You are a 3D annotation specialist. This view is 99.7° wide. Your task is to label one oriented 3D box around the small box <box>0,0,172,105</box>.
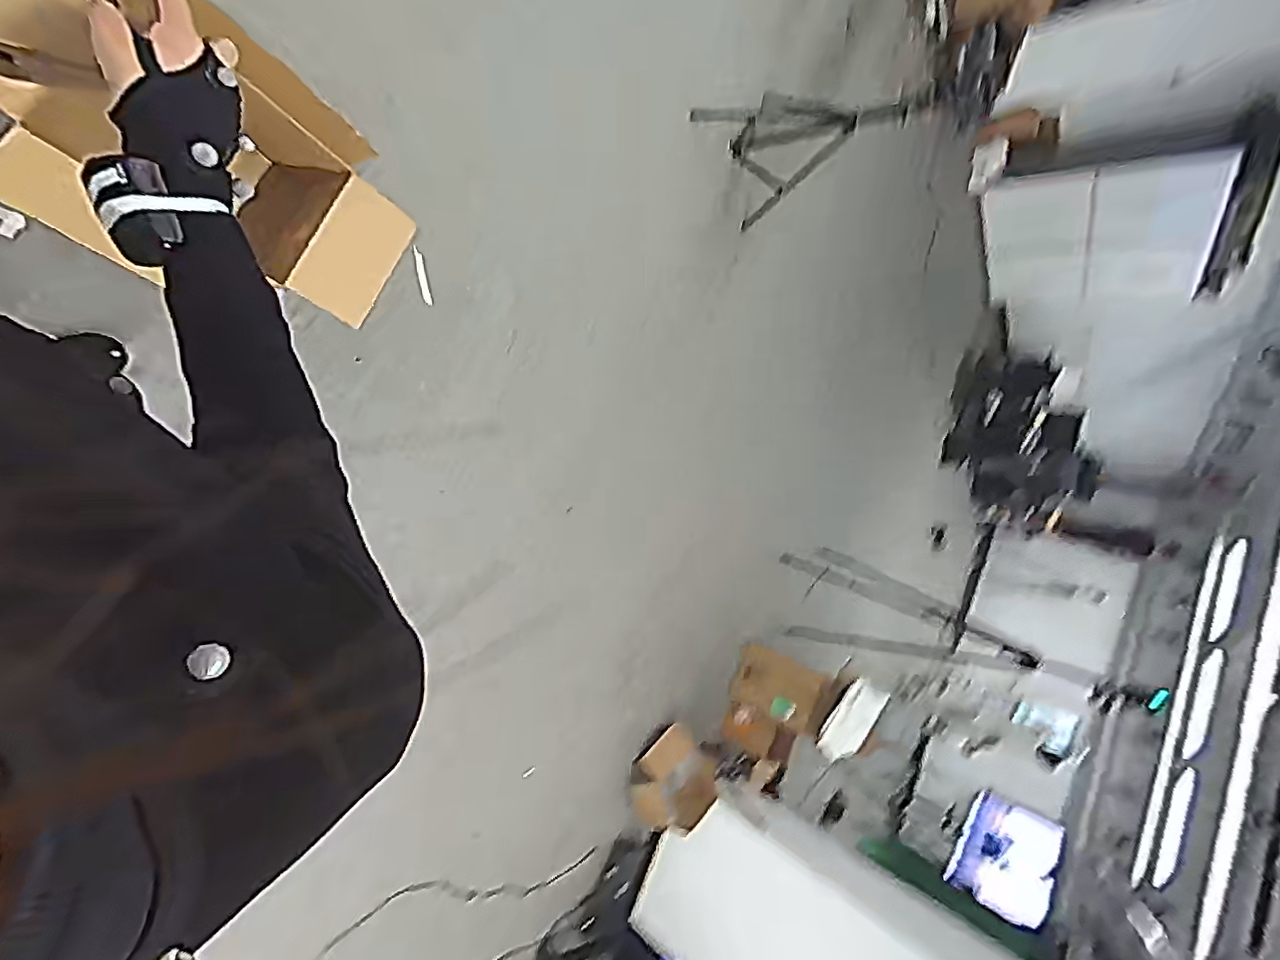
[{"bbox_3d":[-0.489,-0.416,0.417,0.179,0.176,0.168,-7,115,-38],"label":"small box"}]
